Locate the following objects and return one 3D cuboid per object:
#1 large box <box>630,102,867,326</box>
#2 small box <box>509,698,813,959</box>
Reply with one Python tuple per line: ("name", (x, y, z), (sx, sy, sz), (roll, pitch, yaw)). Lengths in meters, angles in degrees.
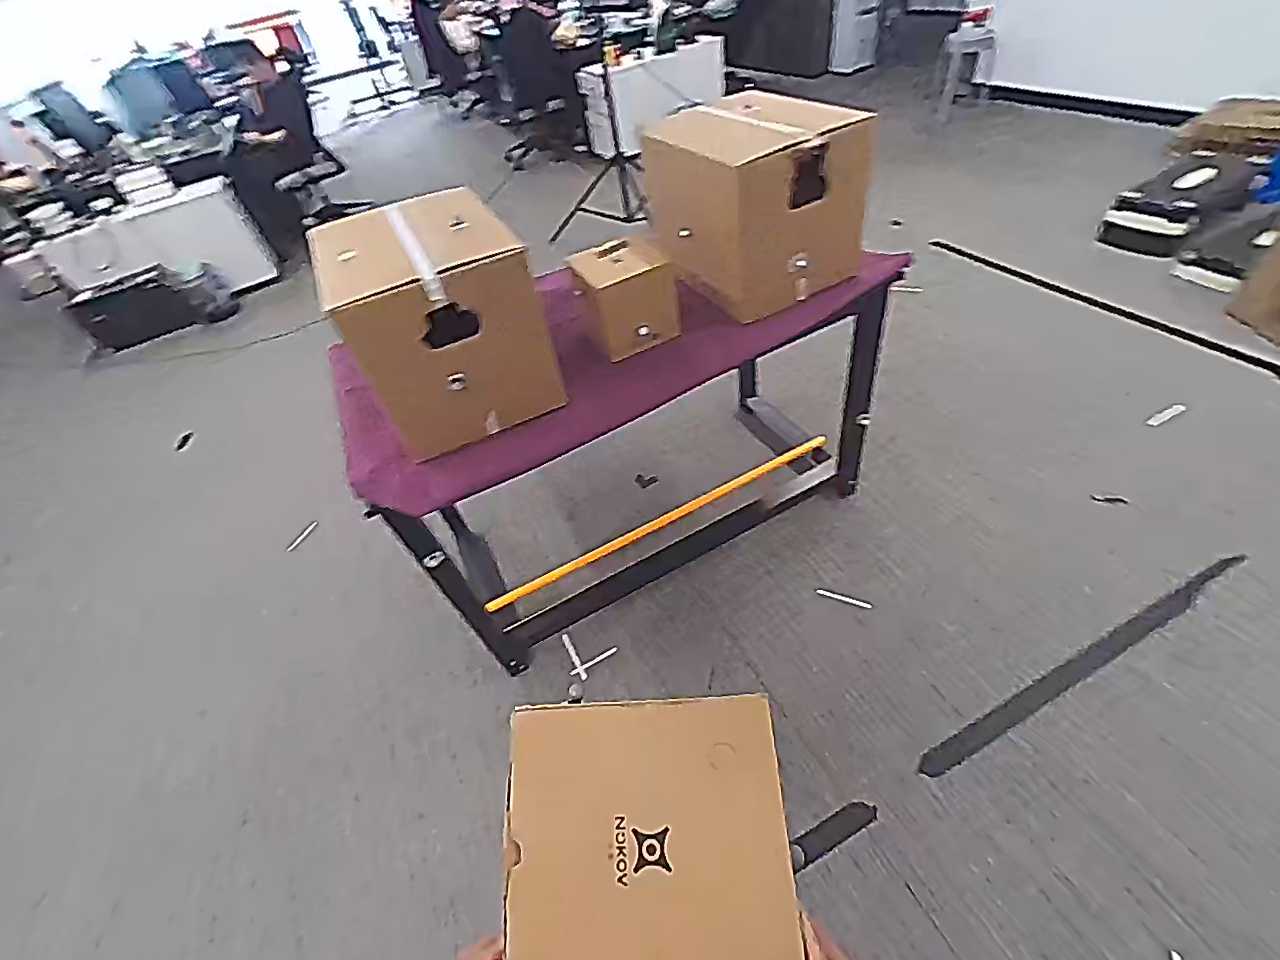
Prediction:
("large box", (0.228, -0.598, 1.199), (0.320, 0.320, 0.408), (-26, 46, -13))
("small box", (0.017, 0.253, 0.401), (0.179, 0.176, 0.168), (-6, 66, 7))
